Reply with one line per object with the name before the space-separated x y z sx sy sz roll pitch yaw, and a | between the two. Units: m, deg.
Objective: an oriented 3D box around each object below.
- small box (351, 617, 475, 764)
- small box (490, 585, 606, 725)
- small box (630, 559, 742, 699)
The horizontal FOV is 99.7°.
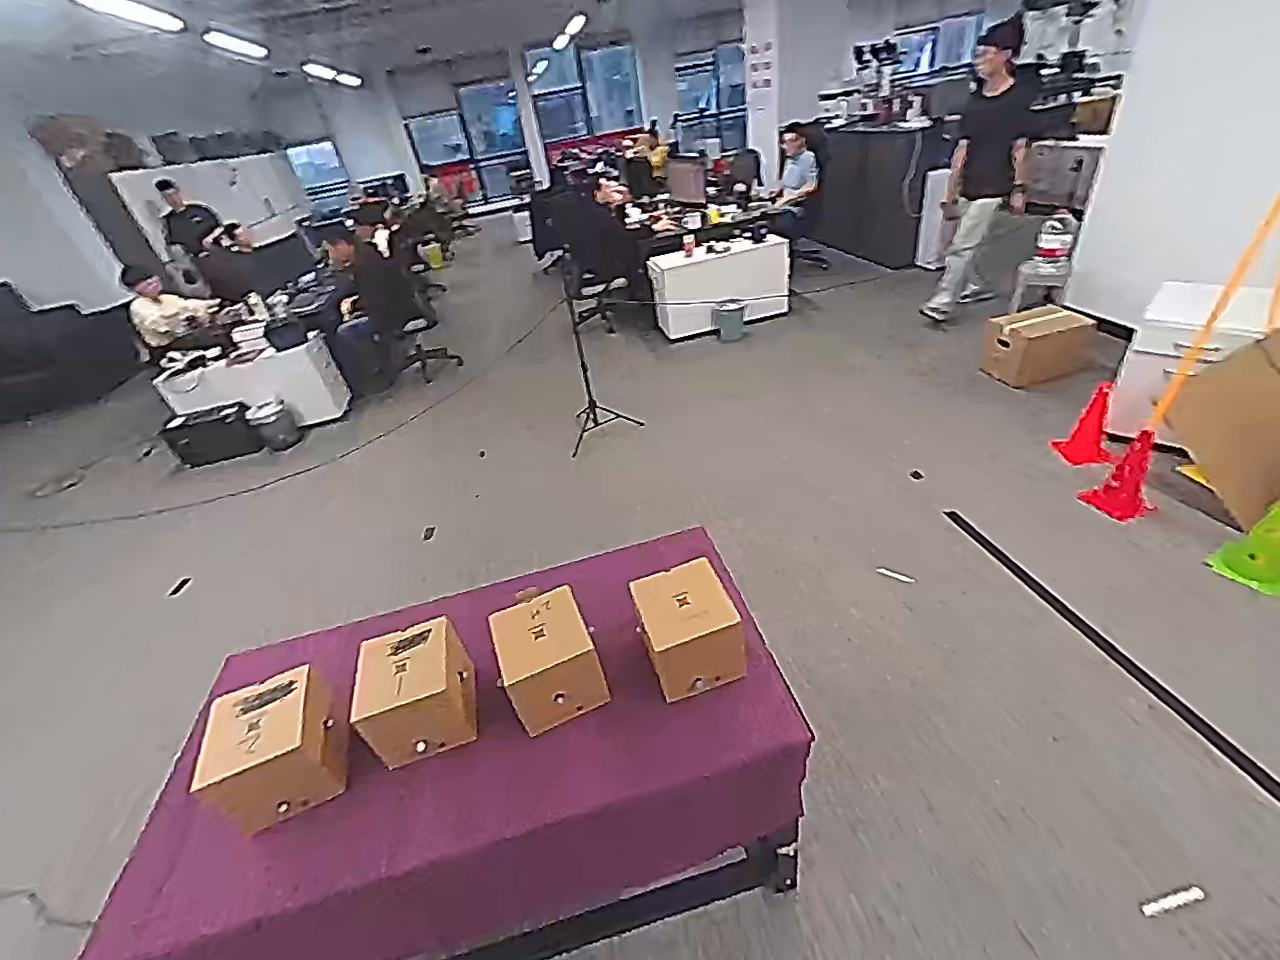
small box | -0.424 0.403 1.039 0.168 0.176 0.179 -17 36 -9
small box | -0.177 0.346 1.054 0.168 0.176 0.179 -20 36 -13
small box | 0.090 0.290 1.061 0.168 0.176 0.179 -17 35 -8
